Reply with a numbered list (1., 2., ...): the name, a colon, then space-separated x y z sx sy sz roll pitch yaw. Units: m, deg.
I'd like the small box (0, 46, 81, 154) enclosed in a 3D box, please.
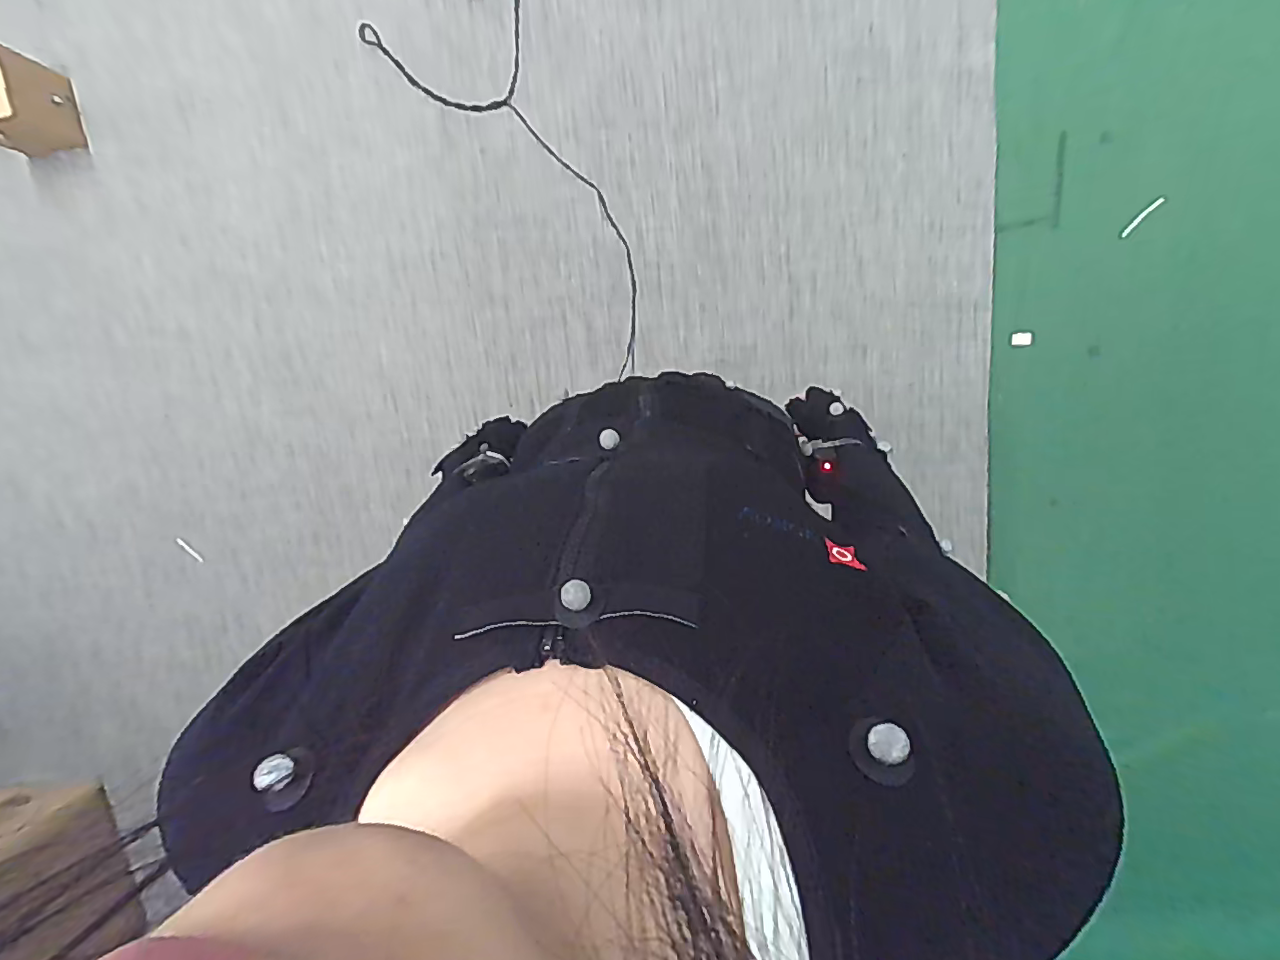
1. small box: -1.553 -0.927 1.326 0.179 0.176 0.168 -7 101 5
